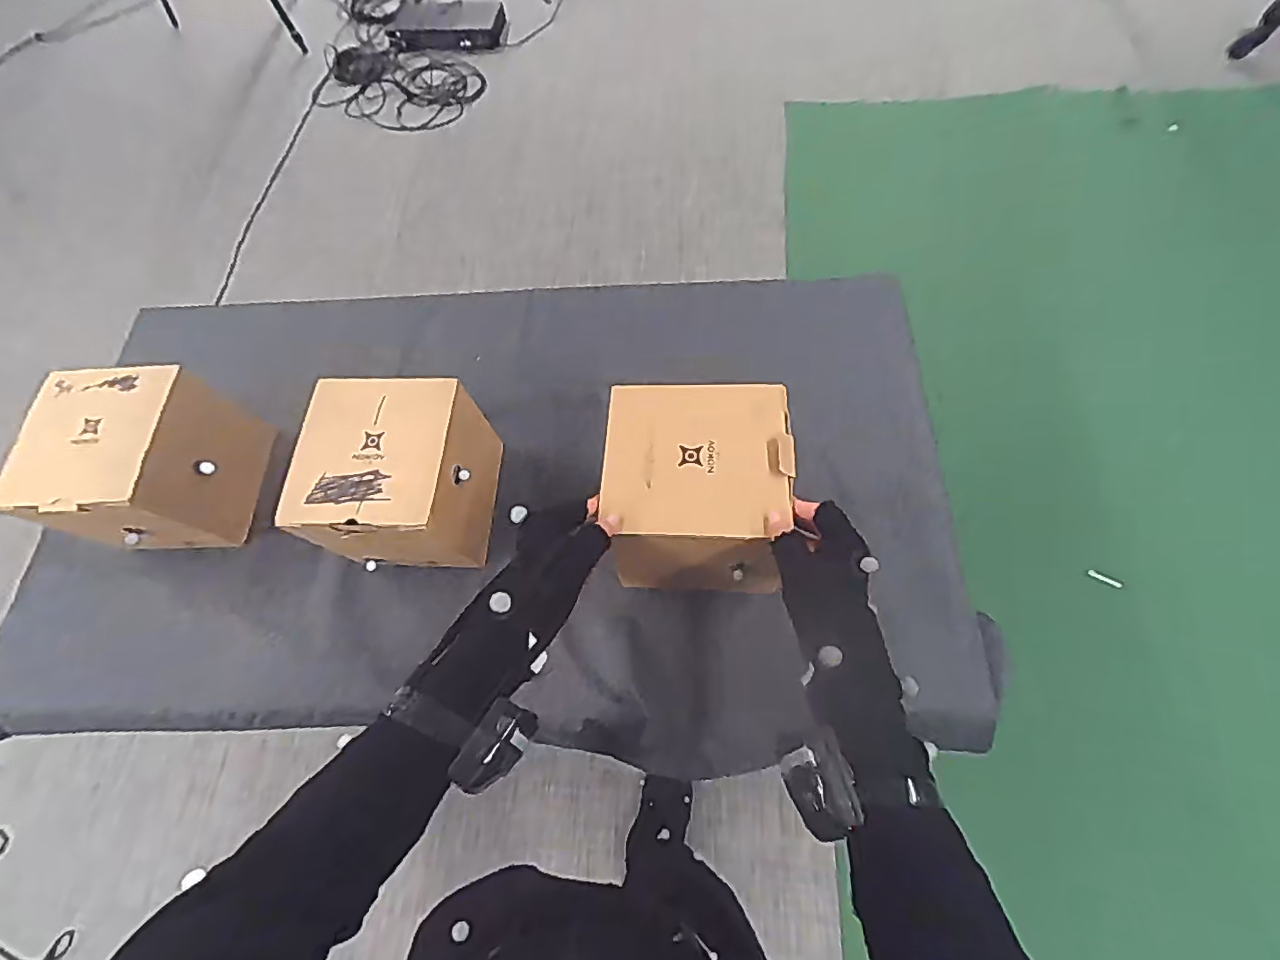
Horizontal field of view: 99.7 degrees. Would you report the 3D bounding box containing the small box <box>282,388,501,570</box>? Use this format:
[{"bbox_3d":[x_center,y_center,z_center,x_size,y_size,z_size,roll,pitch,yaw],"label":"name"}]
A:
[{"bbox_3d":[-0.280,0.007,0.657,0.168,0.176,0.179,0,66,5],"label":"small box"}]

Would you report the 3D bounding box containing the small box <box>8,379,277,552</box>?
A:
[{"bbox_3d":[-0.609,-0.008,0.692,0.168,0.176,0.179,-3,68,4],"label":"small box"}]

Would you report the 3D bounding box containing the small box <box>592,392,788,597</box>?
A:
[{"bbox_3d":[0.057,0.023,0.582,0.179,0.176,0.168,-2,61,9],"label":"small box"}]
